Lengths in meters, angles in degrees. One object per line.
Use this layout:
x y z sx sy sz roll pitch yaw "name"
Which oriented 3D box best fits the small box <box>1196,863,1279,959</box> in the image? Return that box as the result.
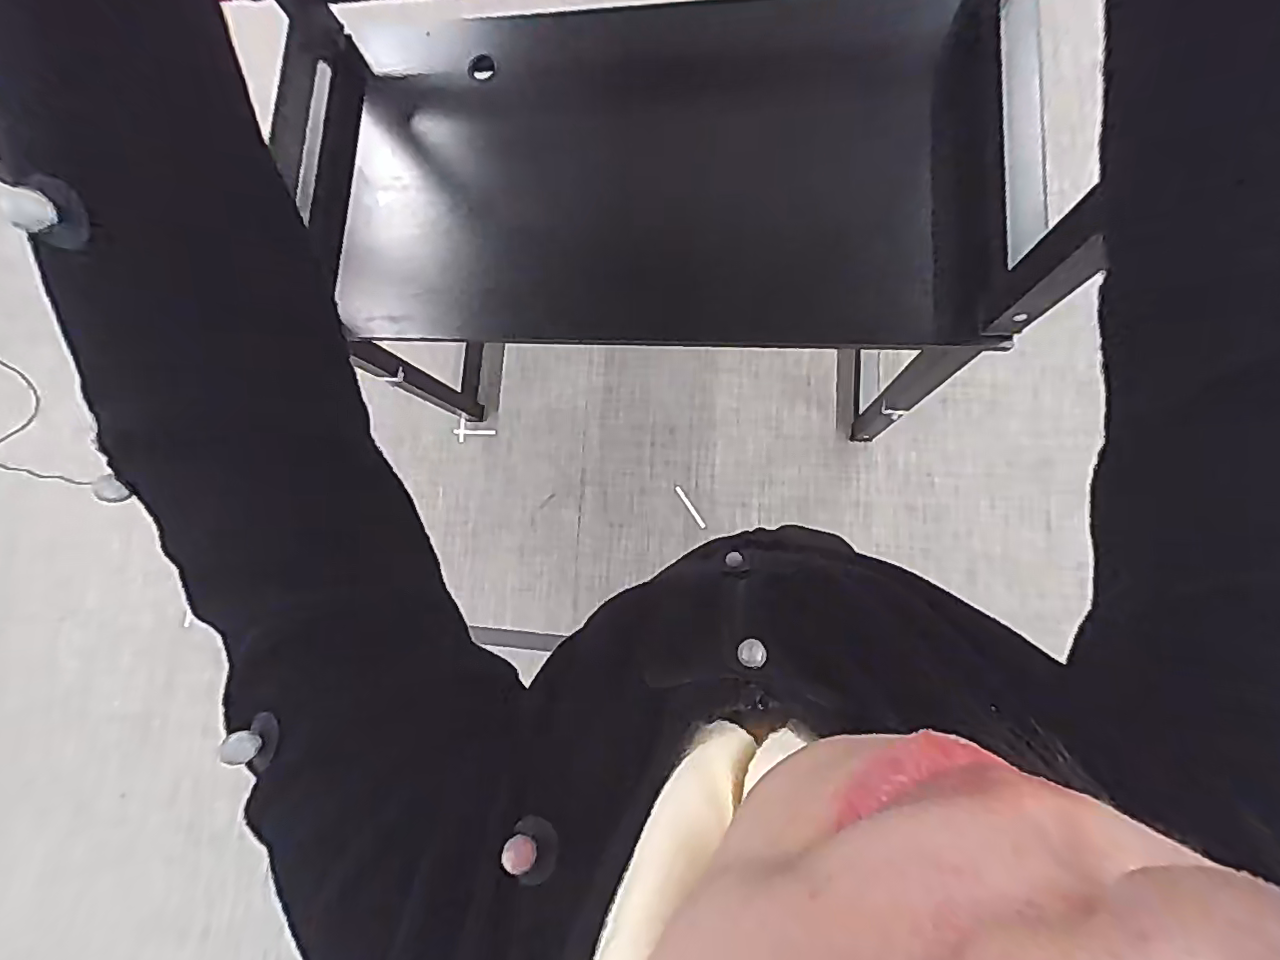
1.336 0.949 1.136 0.179 0.176 0.168 9 84 9 "small box"
